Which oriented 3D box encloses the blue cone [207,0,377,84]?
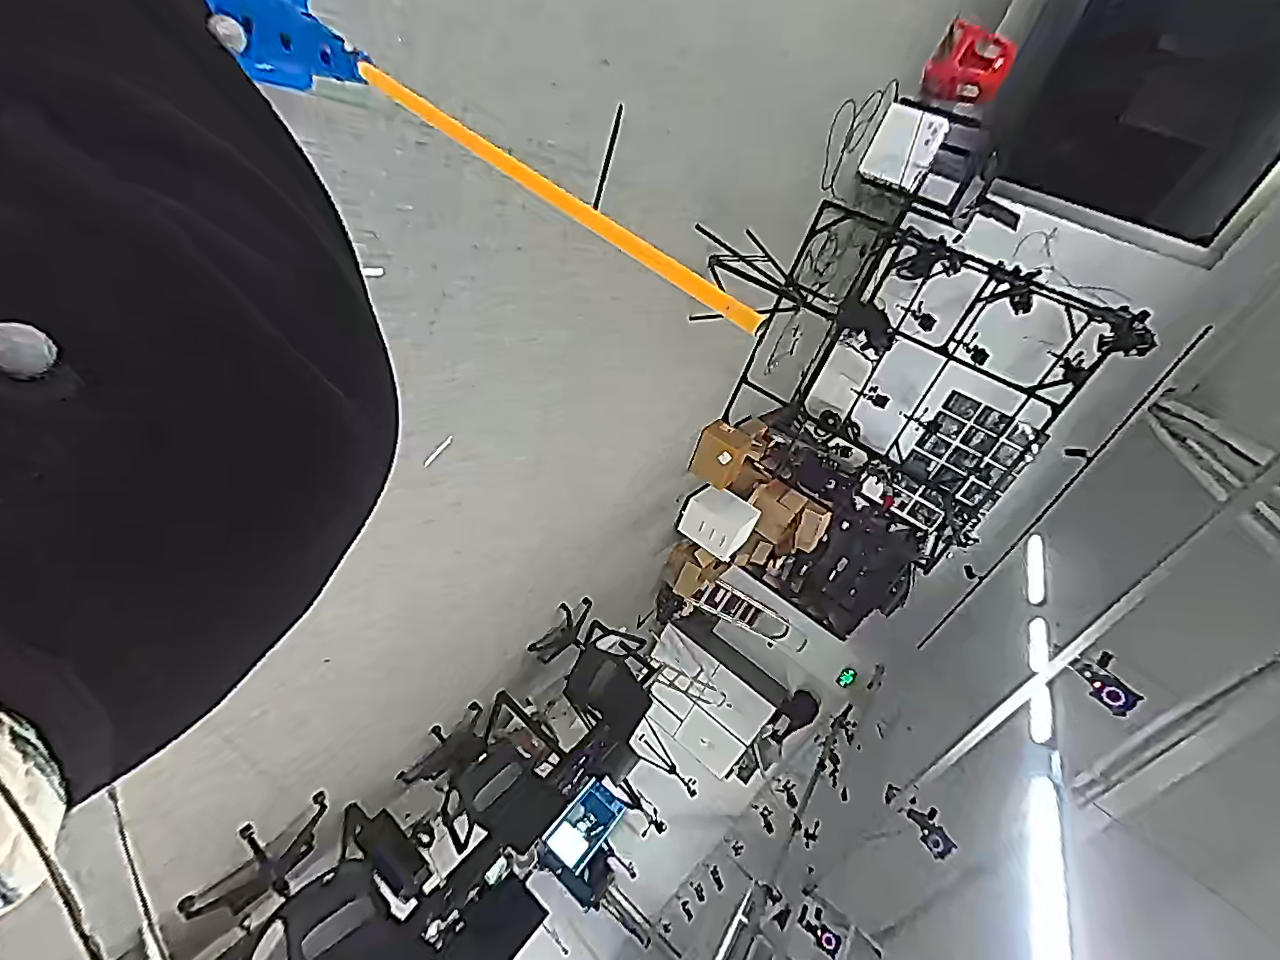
[{"bbox_3d":[-0.606,-0.809,0.989,0.193,0.380,0.192,-30,146,-49],"label":"blue cone"}]
